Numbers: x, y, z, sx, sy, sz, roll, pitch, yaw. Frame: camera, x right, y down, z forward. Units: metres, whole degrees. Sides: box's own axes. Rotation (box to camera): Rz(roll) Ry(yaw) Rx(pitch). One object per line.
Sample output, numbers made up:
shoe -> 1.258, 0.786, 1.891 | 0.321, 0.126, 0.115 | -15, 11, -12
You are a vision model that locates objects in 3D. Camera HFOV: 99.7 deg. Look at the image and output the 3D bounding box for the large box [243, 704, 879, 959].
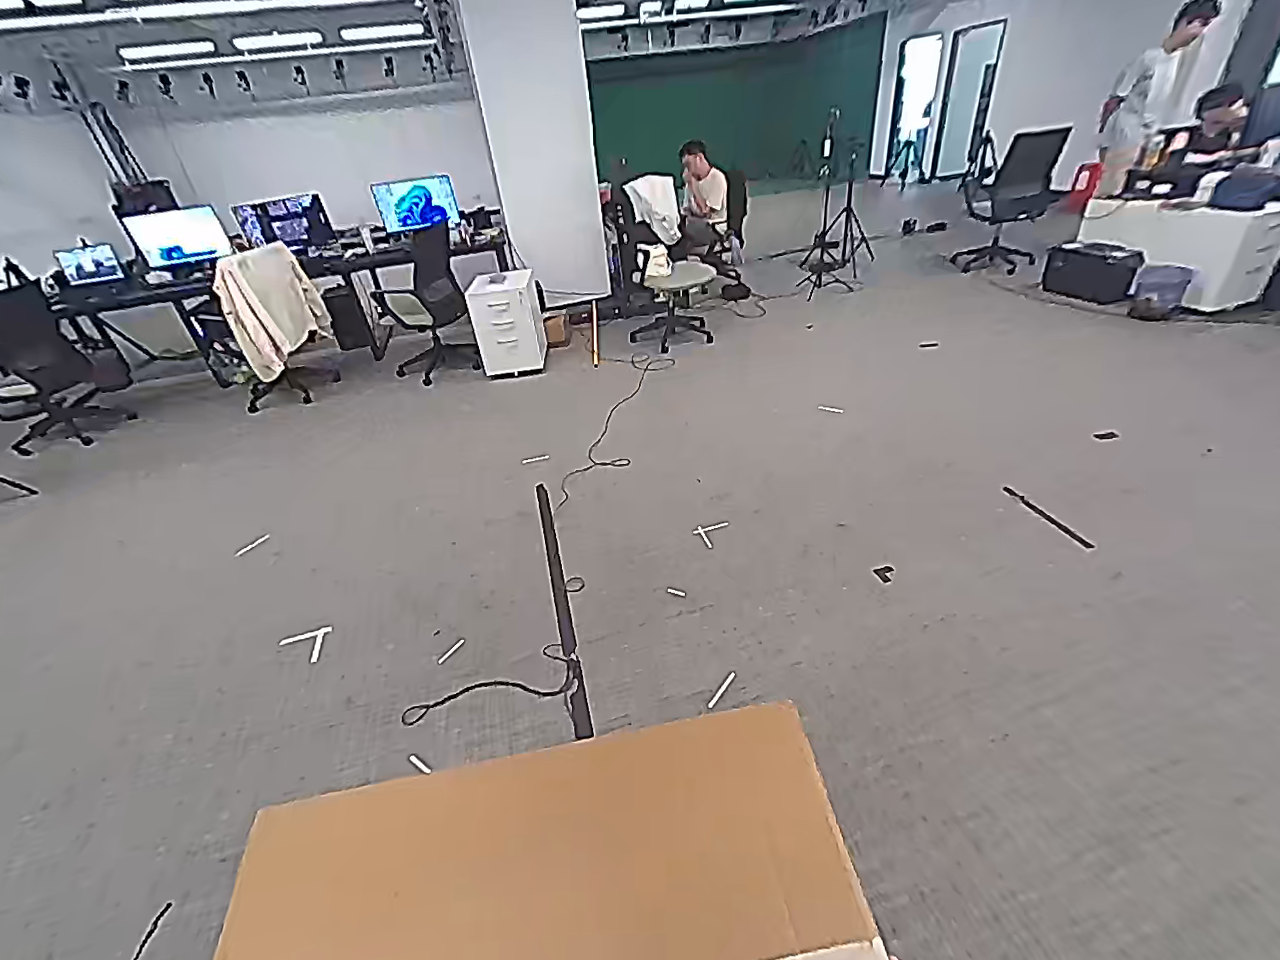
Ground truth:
large box -> -0.039, 0.424, 0.419 | 0.408, 0.320, 0.320 | -11, 47, -2
